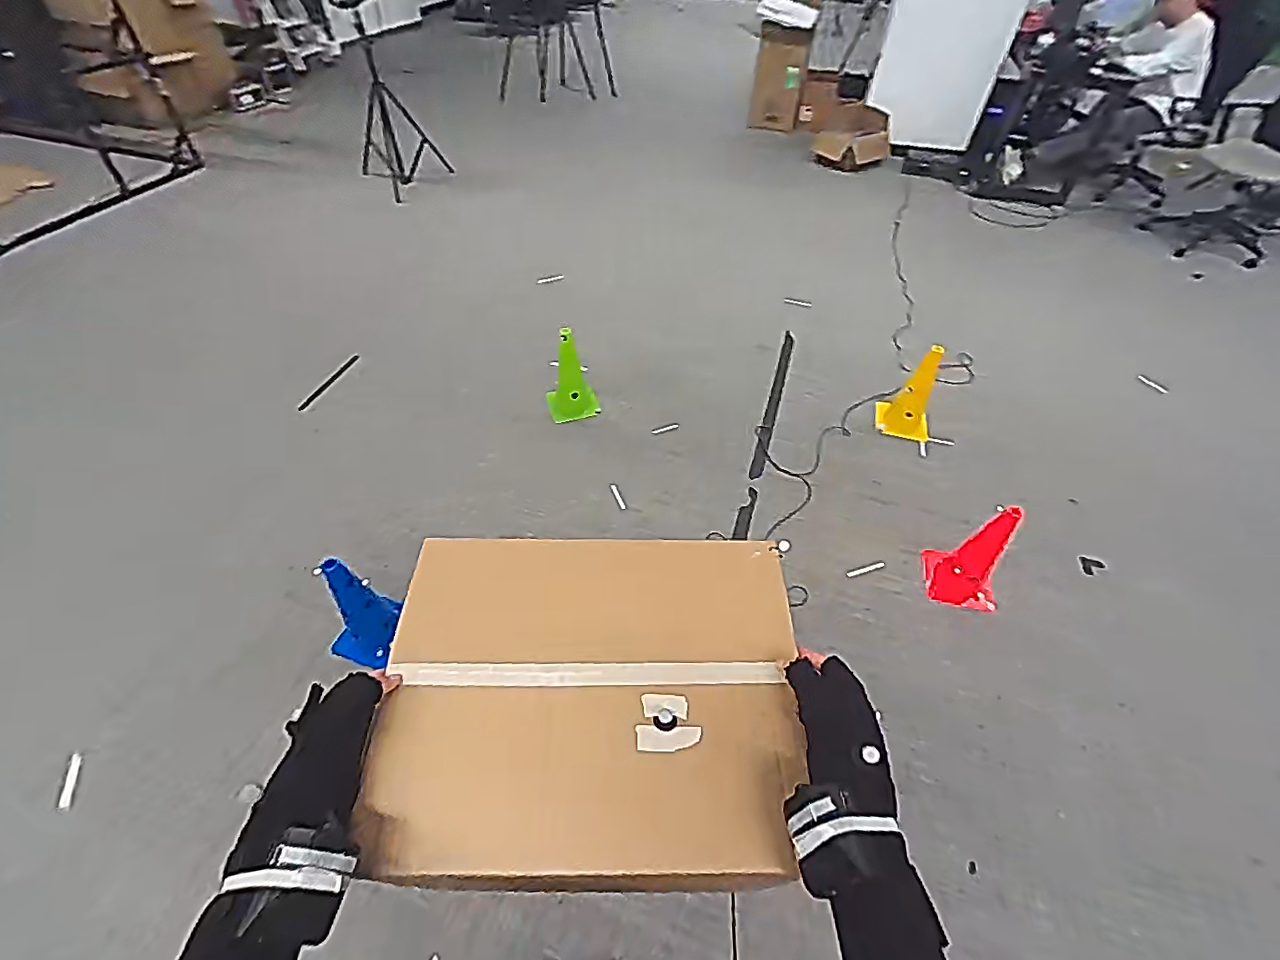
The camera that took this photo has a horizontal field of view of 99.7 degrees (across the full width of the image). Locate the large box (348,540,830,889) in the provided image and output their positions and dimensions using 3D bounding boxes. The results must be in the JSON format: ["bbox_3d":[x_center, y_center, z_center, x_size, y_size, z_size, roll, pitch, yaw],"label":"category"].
[{"bbox_3d":[-0.045,0.285,0.647,0.408,0.320,0.320,2,51,-1],"label":"large box"}]

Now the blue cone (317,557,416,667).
[{"bbox_3d":[-0.764,0.331,1.457,0.192,0.380,0.193,16,50,14],"label":"blue cone"}]

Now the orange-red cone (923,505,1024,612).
[{"bbox_3d":[1.015,0.199,1.593,0.198,0.360,0.199,13,48,9],"label":"orange-red cone"}]

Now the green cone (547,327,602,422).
[{"bbox_3d":[-0.277,-0.437,2.131,0.202,0.368,0.200,-16,50,-13],"label":"green cone"}]
